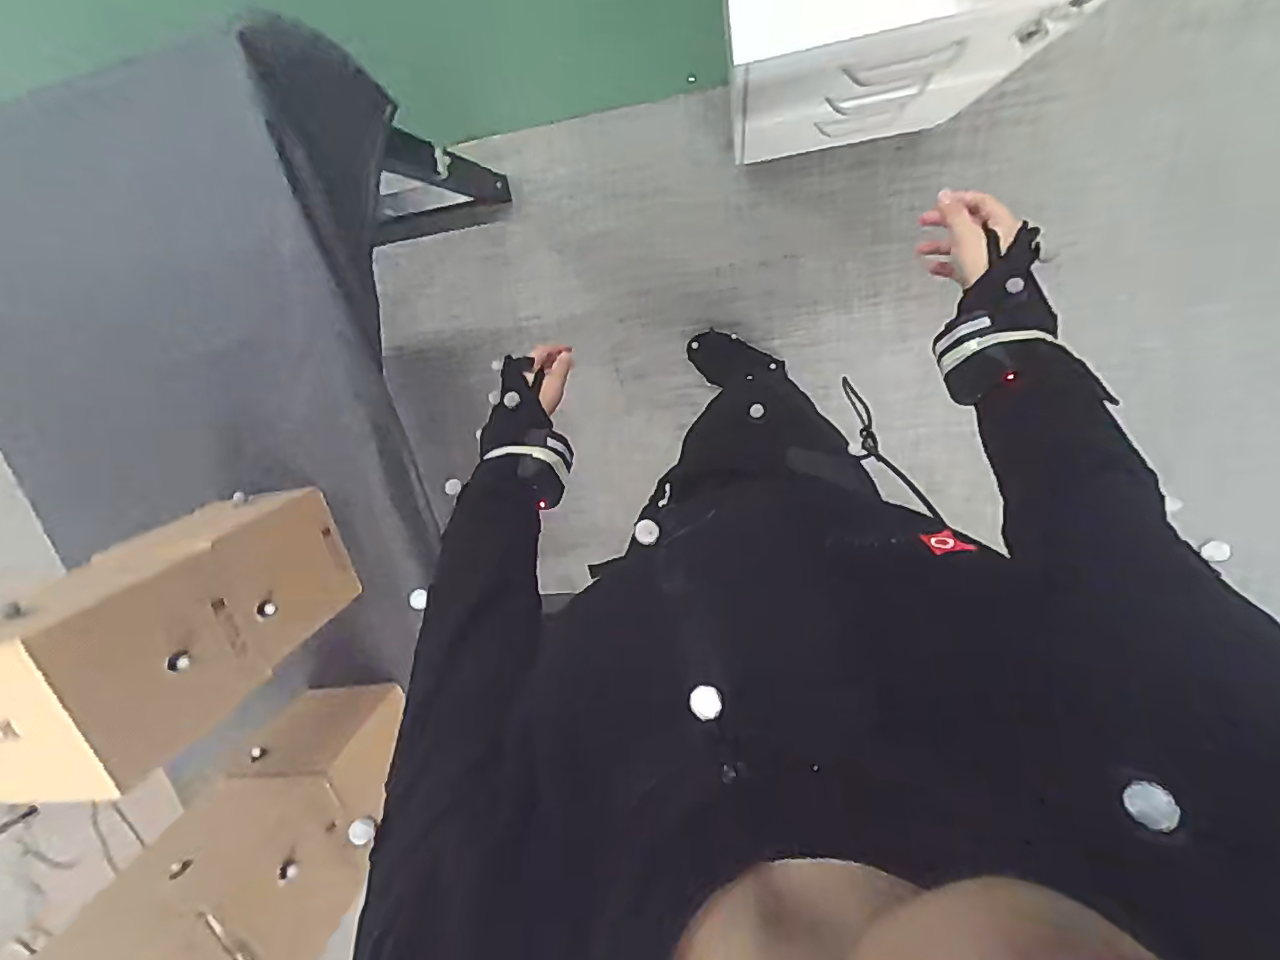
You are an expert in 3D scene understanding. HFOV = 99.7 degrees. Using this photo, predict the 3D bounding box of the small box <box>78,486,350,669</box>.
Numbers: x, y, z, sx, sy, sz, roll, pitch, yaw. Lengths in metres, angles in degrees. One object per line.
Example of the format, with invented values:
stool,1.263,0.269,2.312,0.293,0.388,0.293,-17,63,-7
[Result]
small box,-0.513,0.119,0.679,0.179,0.176,0.168,-8,109,13

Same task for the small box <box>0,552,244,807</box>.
small box,-0.535,0.183,0.526,0.179,0.176,0.168,-8,108,12

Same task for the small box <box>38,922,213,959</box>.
small box,-0.497,0.533,0.478,0.179,0.176,0.168,-12,107,15

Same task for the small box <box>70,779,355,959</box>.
small box,-0.469,0.477,0.630,0.179,0.176,0.168,-11,107,15

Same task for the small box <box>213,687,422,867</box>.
small box,-0.444,0.421,0.783,0.179,0.176,0.168,-10,107,13
